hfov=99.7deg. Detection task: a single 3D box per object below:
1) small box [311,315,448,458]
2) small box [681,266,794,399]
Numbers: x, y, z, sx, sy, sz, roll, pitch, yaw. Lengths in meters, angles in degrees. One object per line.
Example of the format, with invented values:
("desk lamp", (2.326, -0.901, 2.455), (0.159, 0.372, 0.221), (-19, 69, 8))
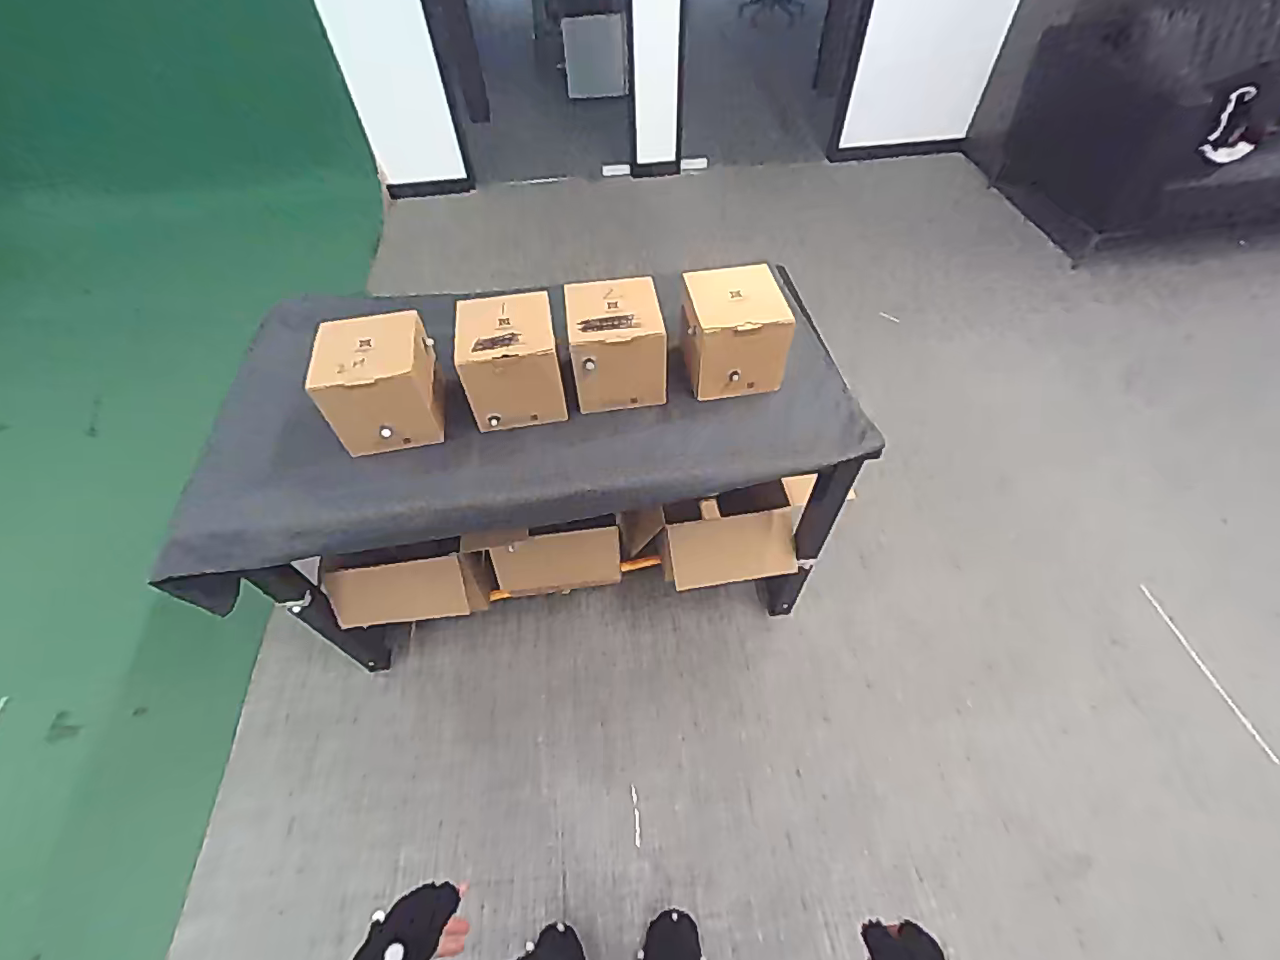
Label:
("small box", (-0.453, -0.166, 0.970), (0.168, 0.176, 0.179), (-11, 53, -6))
("small box", (0.175, -0.281, 1.034), (0.168, 0.176, 0.179), (-9, 53, -4))
